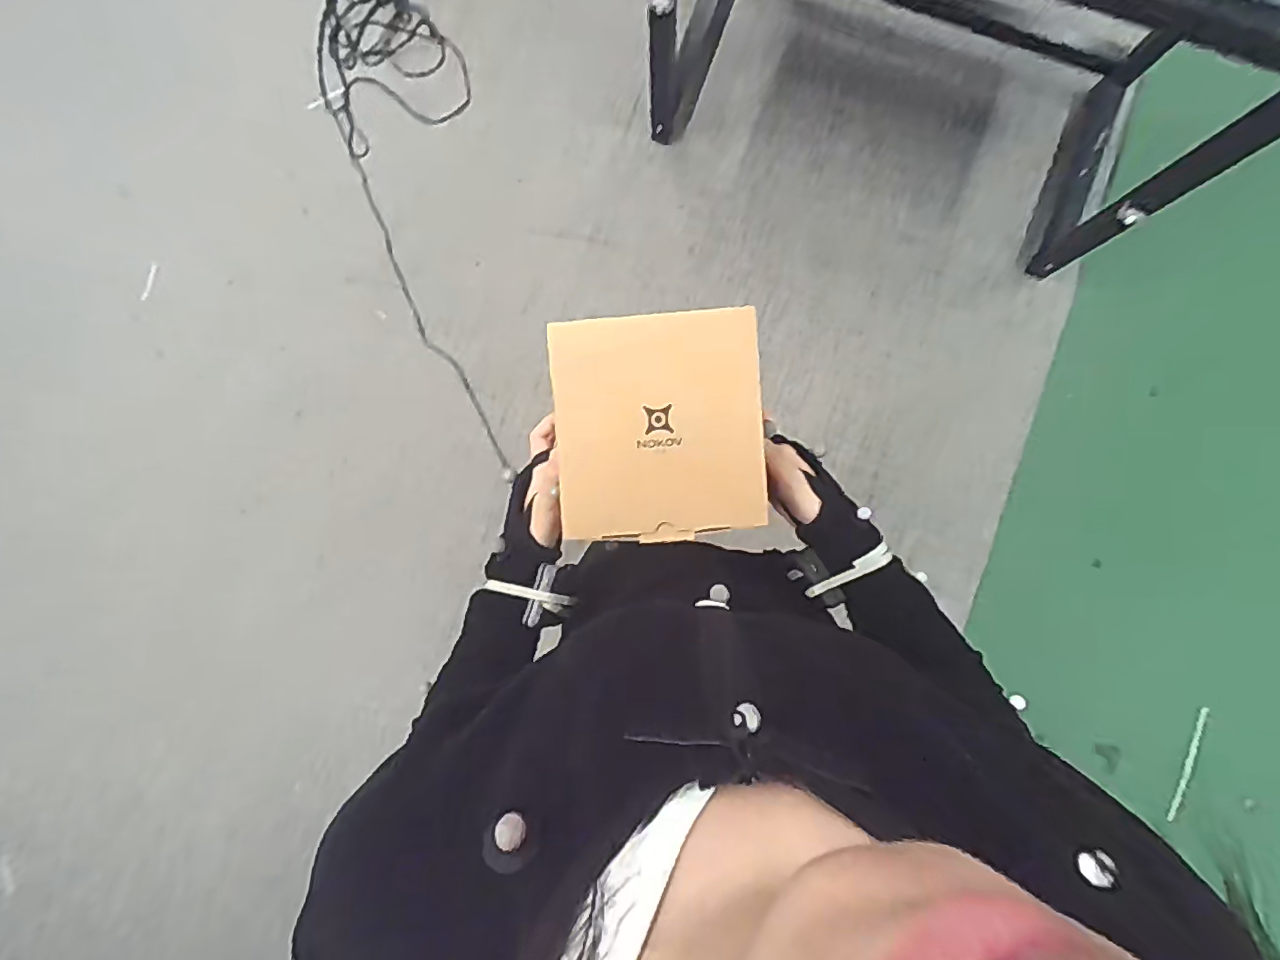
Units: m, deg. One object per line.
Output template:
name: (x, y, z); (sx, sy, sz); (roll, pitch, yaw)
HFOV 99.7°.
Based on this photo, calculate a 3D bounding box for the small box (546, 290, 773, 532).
small box: (0.015, -0.053, 0.487); (0.168, 0.176, 0.179); (-4, 92, 2)
